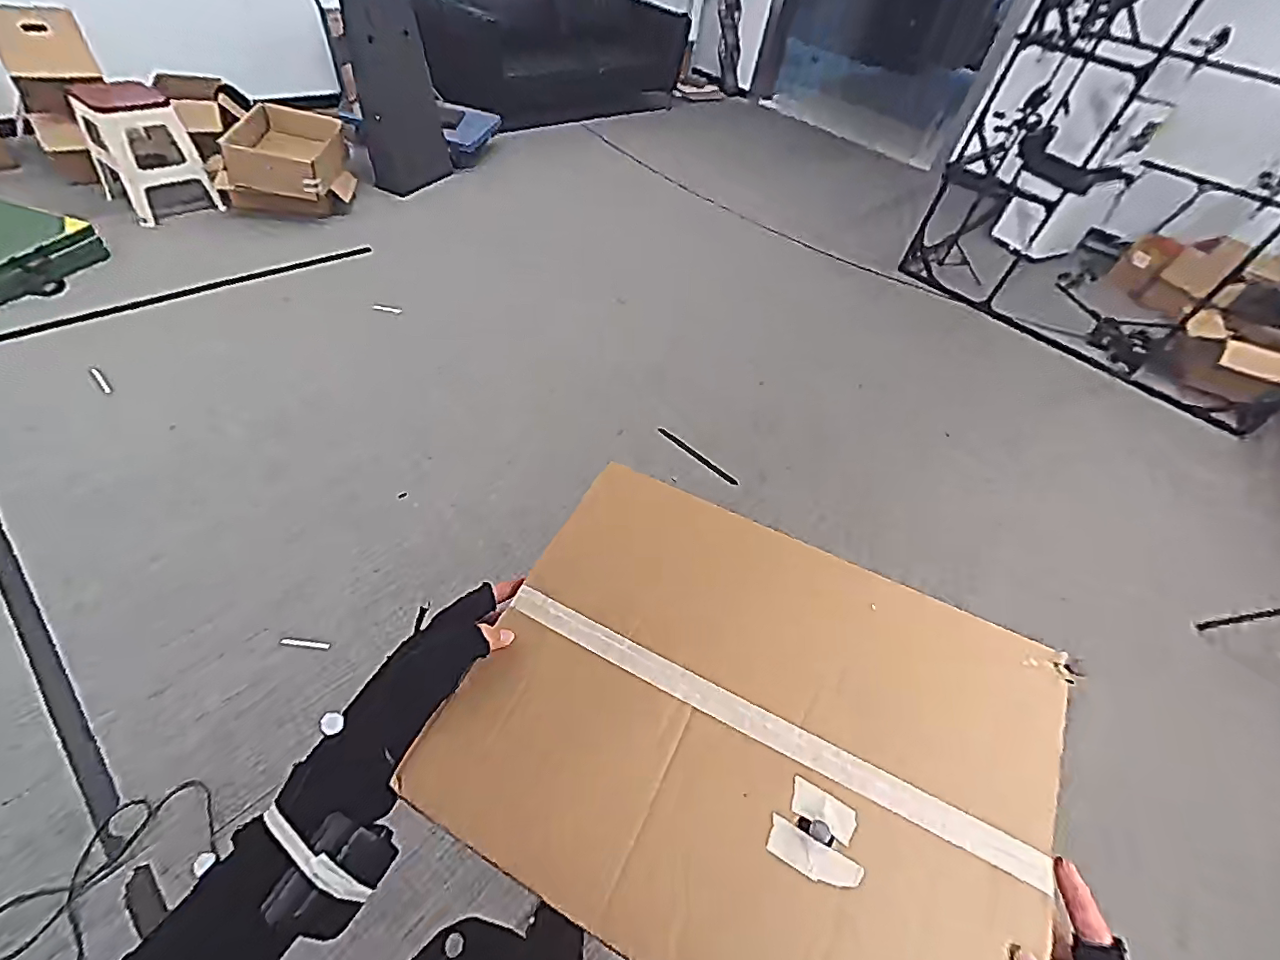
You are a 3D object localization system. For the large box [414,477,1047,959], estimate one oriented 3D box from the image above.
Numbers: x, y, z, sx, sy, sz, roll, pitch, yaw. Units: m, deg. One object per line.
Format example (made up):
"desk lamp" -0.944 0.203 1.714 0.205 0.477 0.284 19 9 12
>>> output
"large box" 0.080 0.263 0.530 0.408 0.320 0.320 24 60 16
